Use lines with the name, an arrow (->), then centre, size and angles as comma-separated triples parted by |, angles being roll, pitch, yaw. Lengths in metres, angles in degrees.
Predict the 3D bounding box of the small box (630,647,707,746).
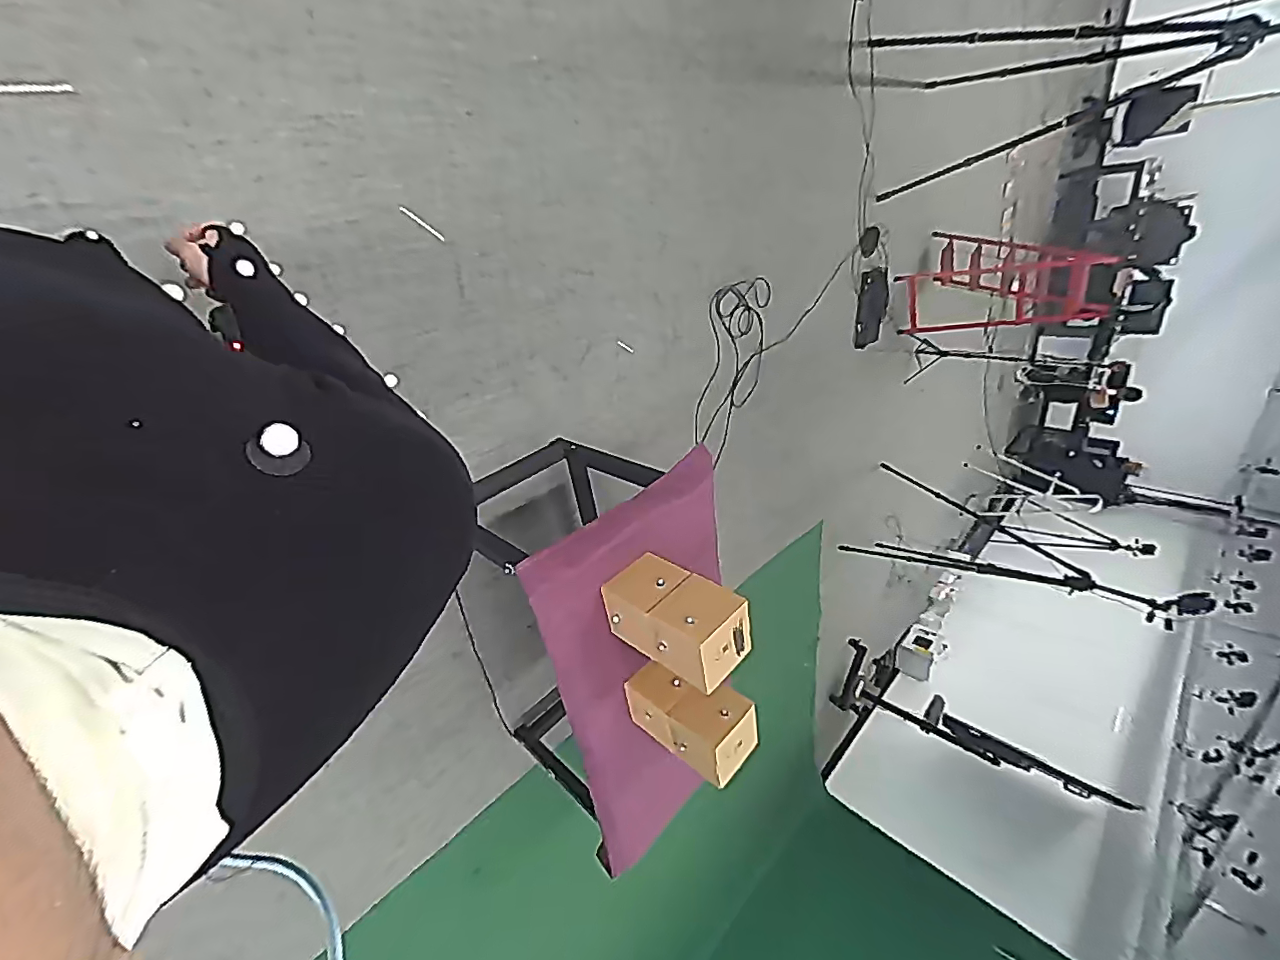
small box -> 0.086, 0.625, 1.586 | 0.179, 0.176, 0.168 | -34, 126, -35

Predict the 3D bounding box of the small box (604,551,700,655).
small box -> 0.032, 0.312, 1.414 | 0.179, 0.176, 0.168 | -33, 126, -34

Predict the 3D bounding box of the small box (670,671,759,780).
small box -> 0.206, 0.662, 1.480 | 0.179, 0.176, 0.168 | -33, 125, -36
